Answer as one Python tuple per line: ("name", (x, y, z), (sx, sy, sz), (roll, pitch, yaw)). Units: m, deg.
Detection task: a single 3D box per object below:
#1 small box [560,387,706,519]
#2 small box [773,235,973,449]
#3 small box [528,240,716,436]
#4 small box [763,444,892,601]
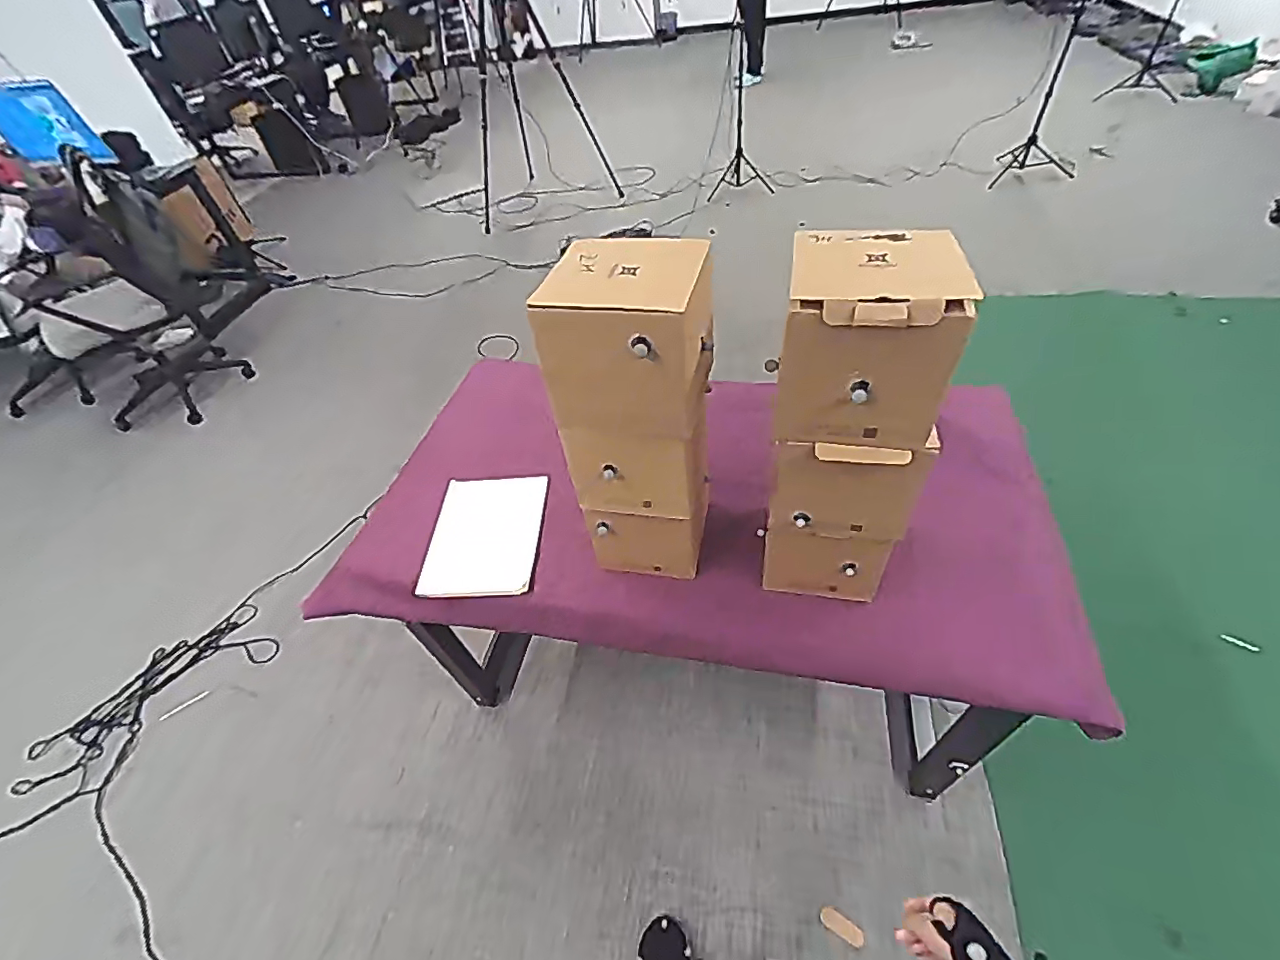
("small box", (0.003, -0.063, 0.782), (0.168, 0.176, 0.179), (6, 47, 13))
("small box", (0.244, -0.154, 0.607), (0.168, 0.176, 0.179), (7, 49, 13))
("small box", (-0.008, -0.172, 0.658), (0.179, 0.176, 0.168), (7, 47, 15))
("small box", (0.285, 0.067, 0.845), (0.168, 0.176, 0.179), (6, 47, 13))
